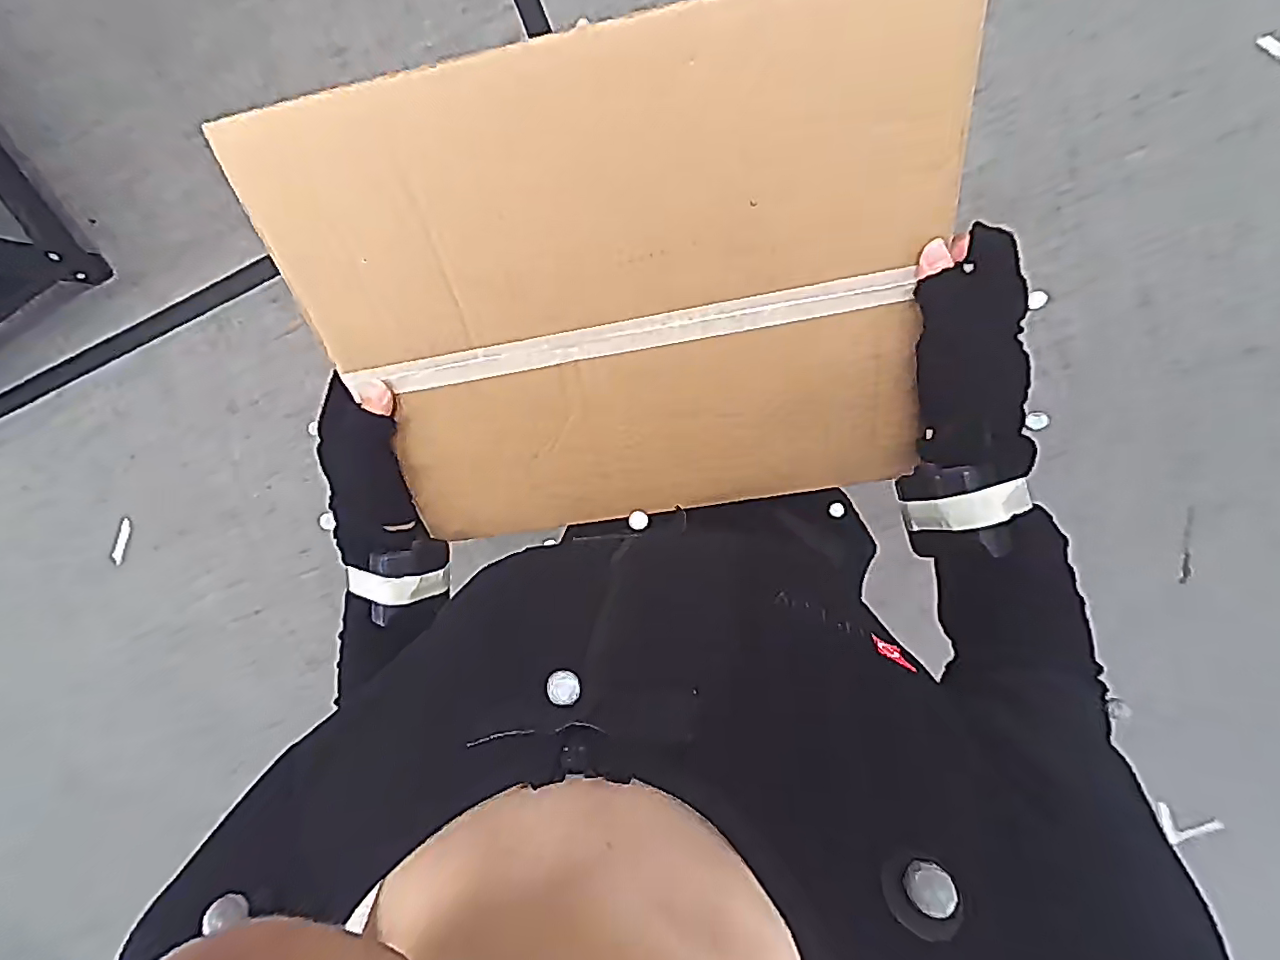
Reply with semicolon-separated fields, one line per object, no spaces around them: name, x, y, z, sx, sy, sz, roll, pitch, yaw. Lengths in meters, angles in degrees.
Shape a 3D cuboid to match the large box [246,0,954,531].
large box;-0.006;-0.194;0.493;0.408;0.320;0.320;-9;126;7
